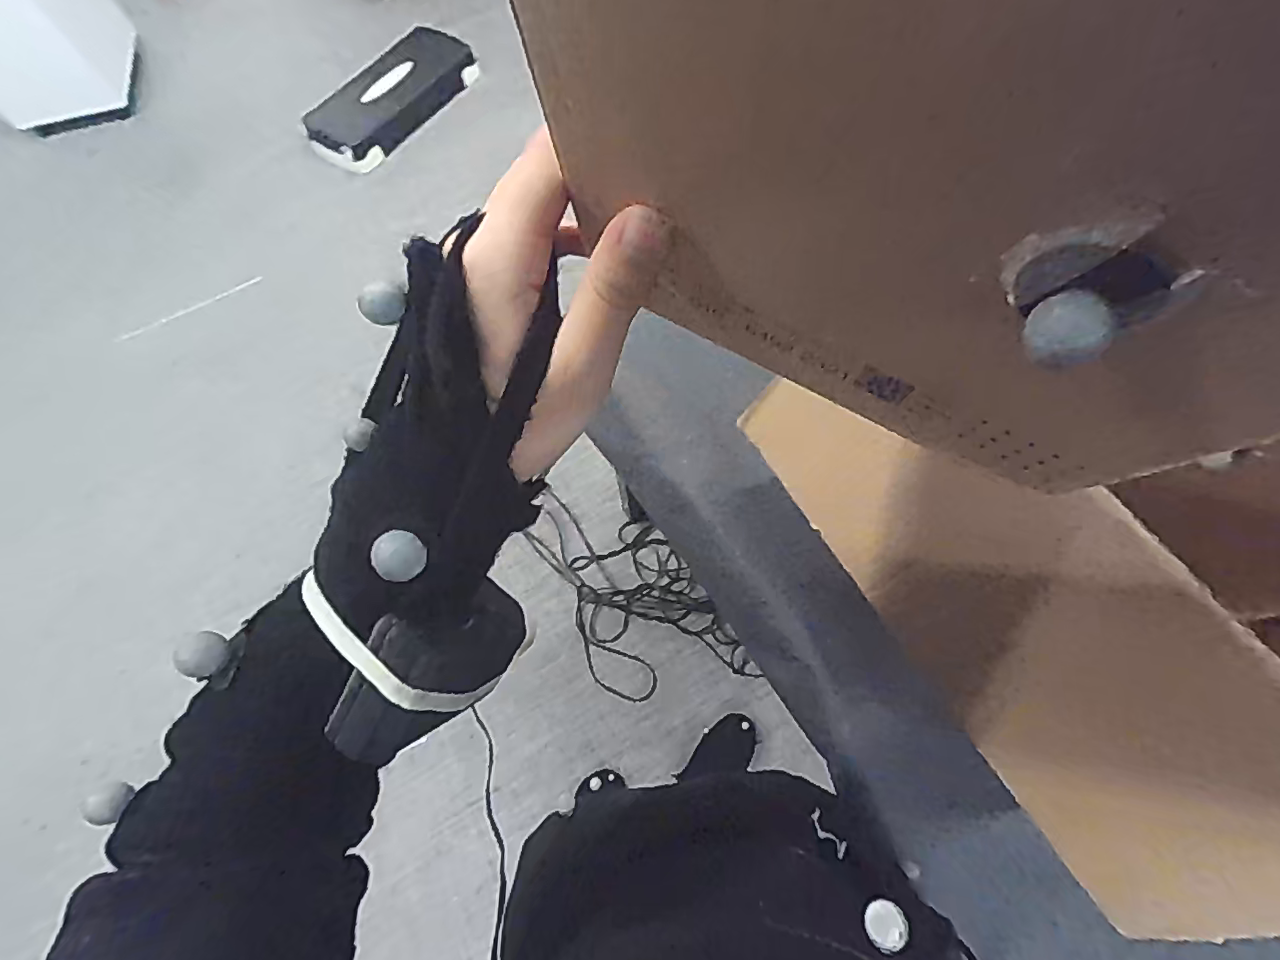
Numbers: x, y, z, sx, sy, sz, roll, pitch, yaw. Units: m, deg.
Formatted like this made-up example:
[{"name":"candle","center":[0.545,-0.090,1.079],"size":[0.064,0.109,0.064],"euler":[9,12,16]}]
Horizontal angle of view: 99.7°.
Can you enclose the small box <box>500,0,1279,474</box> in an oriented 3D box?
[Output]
[{"name":"small box","center":[0.083,-0.121,0.113],"size":[0.168,0.176,0.179],"euler":[29,81,10]}]
